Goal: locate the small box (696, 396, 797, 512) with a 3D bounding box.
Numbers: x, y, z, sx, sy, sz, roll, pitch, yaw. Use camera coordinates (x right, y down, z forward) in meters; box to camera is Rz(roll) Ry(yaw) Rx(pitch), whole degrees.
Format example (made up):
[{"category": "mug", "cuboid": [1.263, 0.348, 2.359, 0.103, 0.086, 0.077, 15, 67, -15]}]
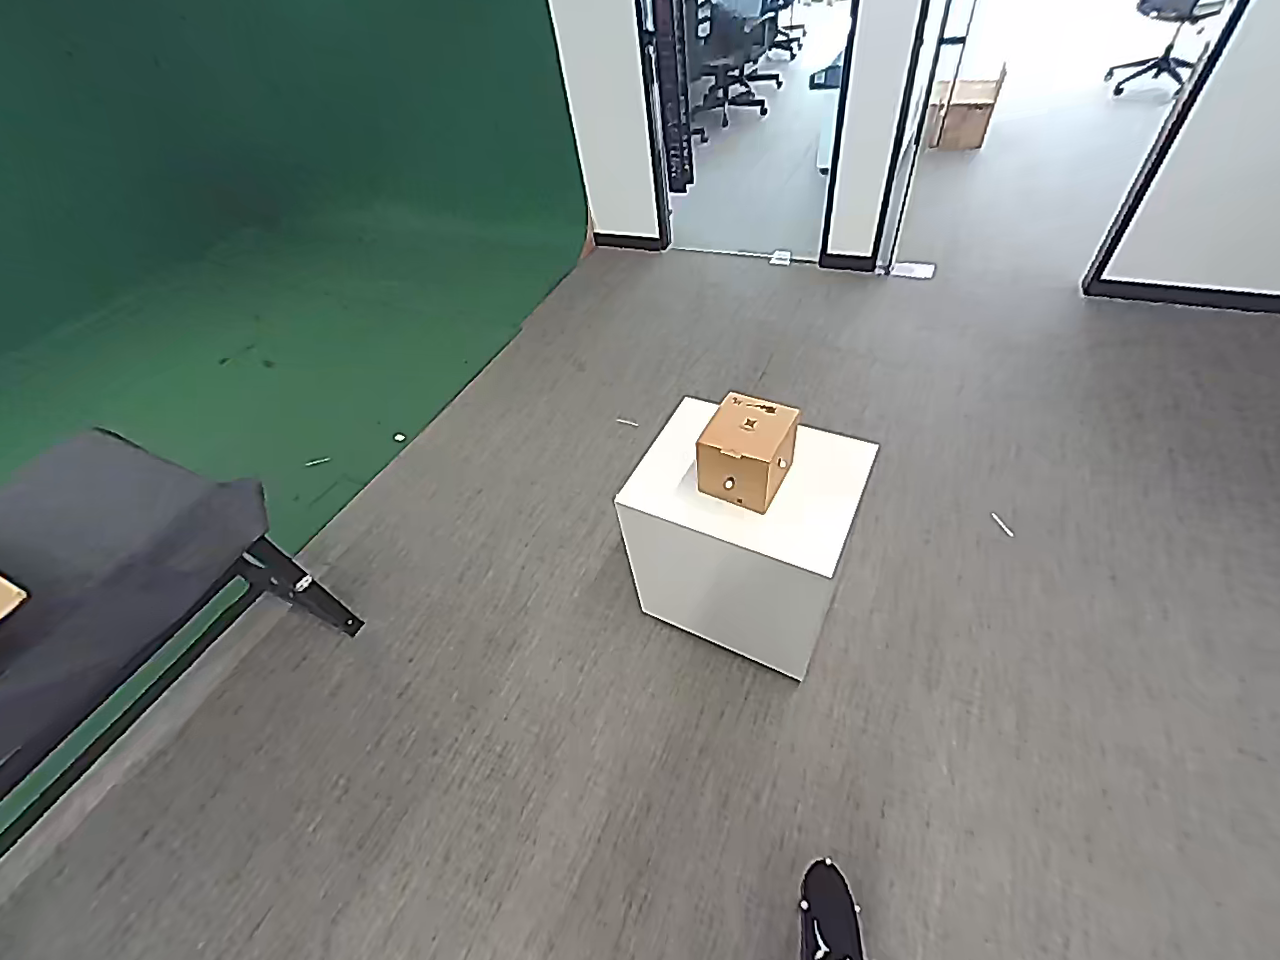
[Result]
[{"category": "small box", "cuboid": [0.239, -0.056, 1.210, 0.168, 0.176, 0.179, 18, 54, 23]}]
